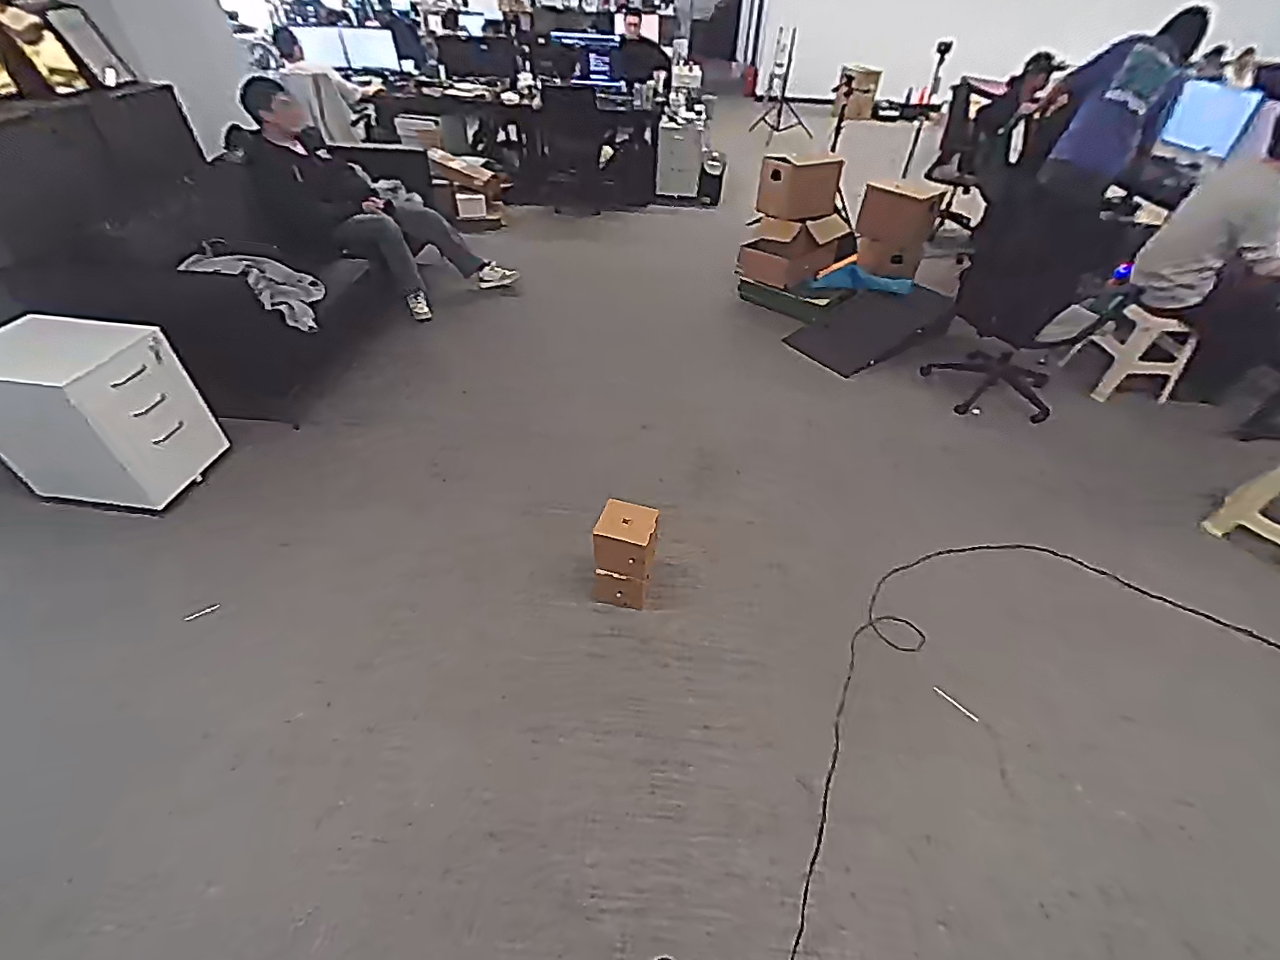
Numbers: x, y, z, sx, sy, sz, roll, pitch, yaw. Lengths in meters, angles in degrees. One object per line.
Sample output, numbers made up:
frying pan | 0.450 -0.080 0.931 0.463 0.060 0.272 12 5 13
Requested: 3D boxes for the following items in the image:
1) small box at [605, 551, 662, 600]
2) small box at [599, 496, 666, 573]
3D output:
small box | -0.027 0.291 1.871 0.179 0.176 0.168 -13 43 -12
small box | -0.022 0.181 1.761 0.179 0.176 0.168 12 42 13
